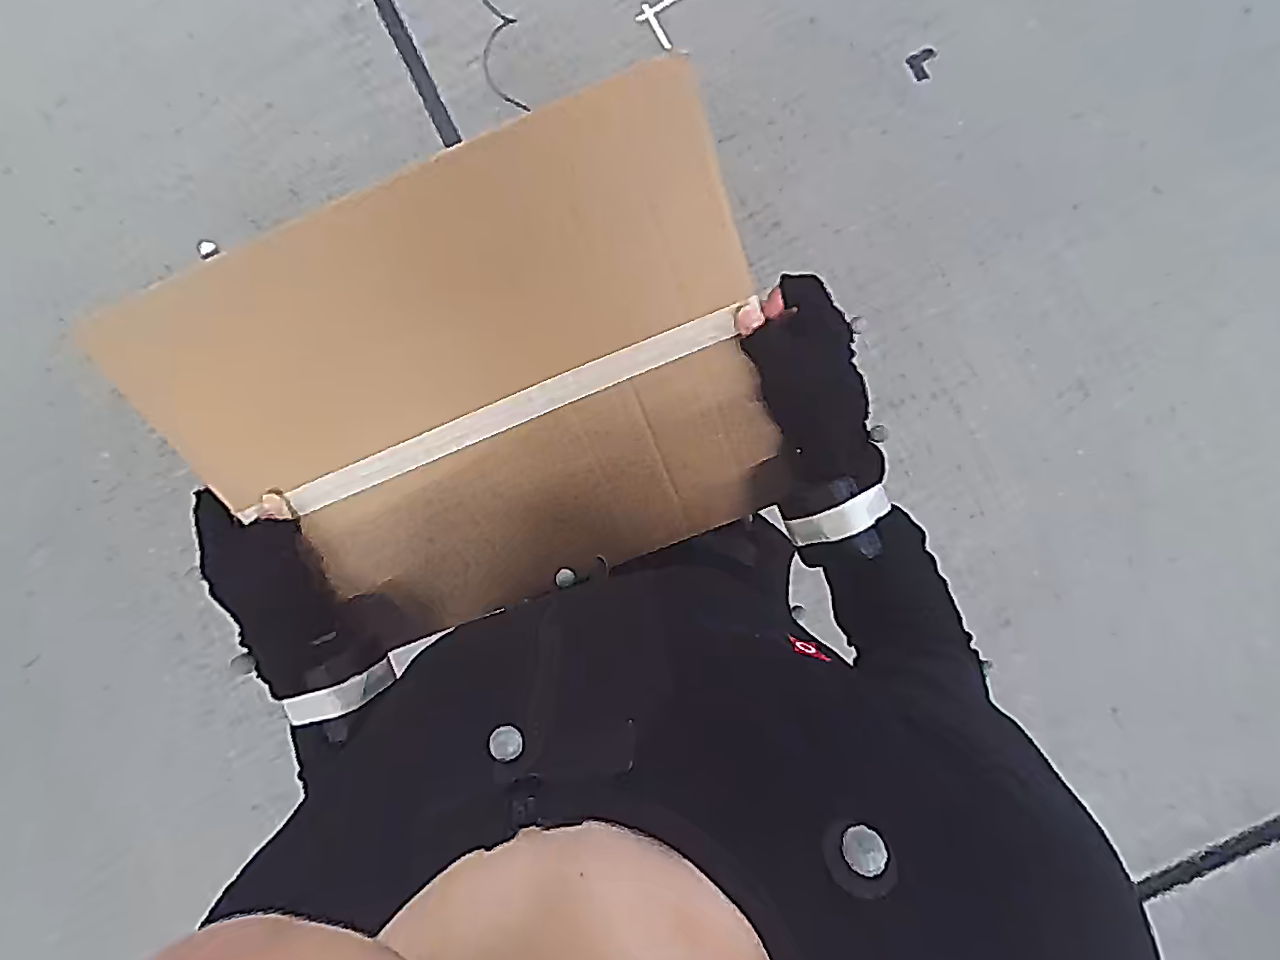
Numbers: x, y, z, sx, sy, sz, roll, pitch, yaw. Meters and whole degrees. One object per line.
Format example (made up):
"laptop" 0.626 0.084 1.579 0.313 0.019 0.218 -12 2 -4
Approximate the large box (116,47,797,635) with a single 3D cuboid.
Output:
"large box" -0.121 -0.122 0.529 0.408 0.320 0.320 -21 119 5
